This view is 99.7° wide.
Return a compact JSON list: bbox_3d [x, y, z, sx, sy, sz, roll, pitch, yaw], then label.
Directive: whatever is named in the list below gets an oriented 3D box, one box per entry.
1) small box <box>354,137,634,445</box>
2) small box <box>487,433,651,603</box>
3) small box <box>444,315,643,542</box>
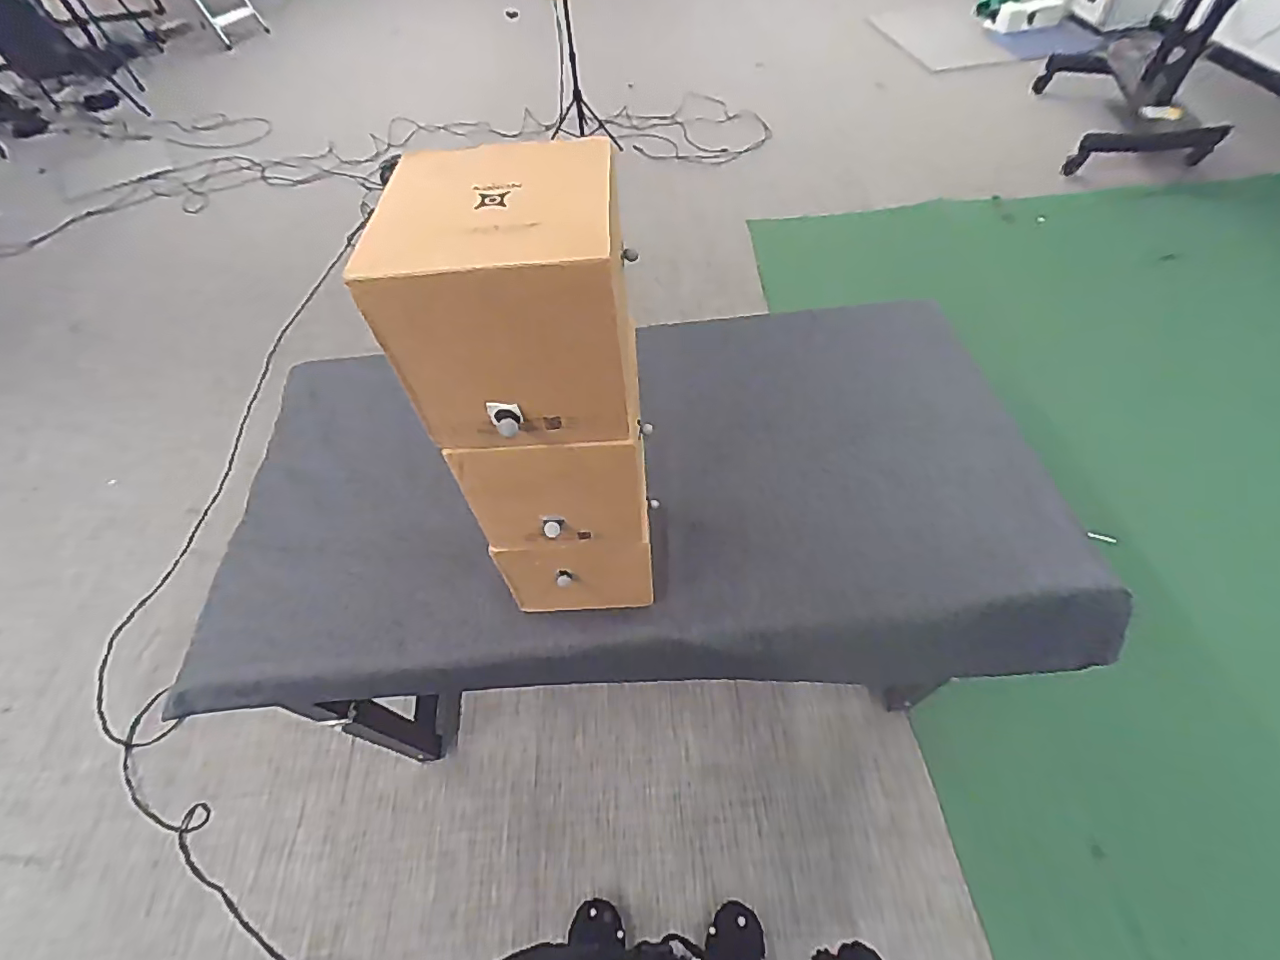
[{"bbox_3d":[-0.093,-0.149,0.442,0.168,0.176,0.179,-3,55,2],"label":"small box"},{"bbox_3d":[-0.078,0.051,0.699,0.179,0.176,0.168,-2,54,2],"label":"small box"},{"bbox_3d":[-0.083,-0.052,0.570,0.168,0.176,0.179,-1,54,2],"label":"small box"}]
